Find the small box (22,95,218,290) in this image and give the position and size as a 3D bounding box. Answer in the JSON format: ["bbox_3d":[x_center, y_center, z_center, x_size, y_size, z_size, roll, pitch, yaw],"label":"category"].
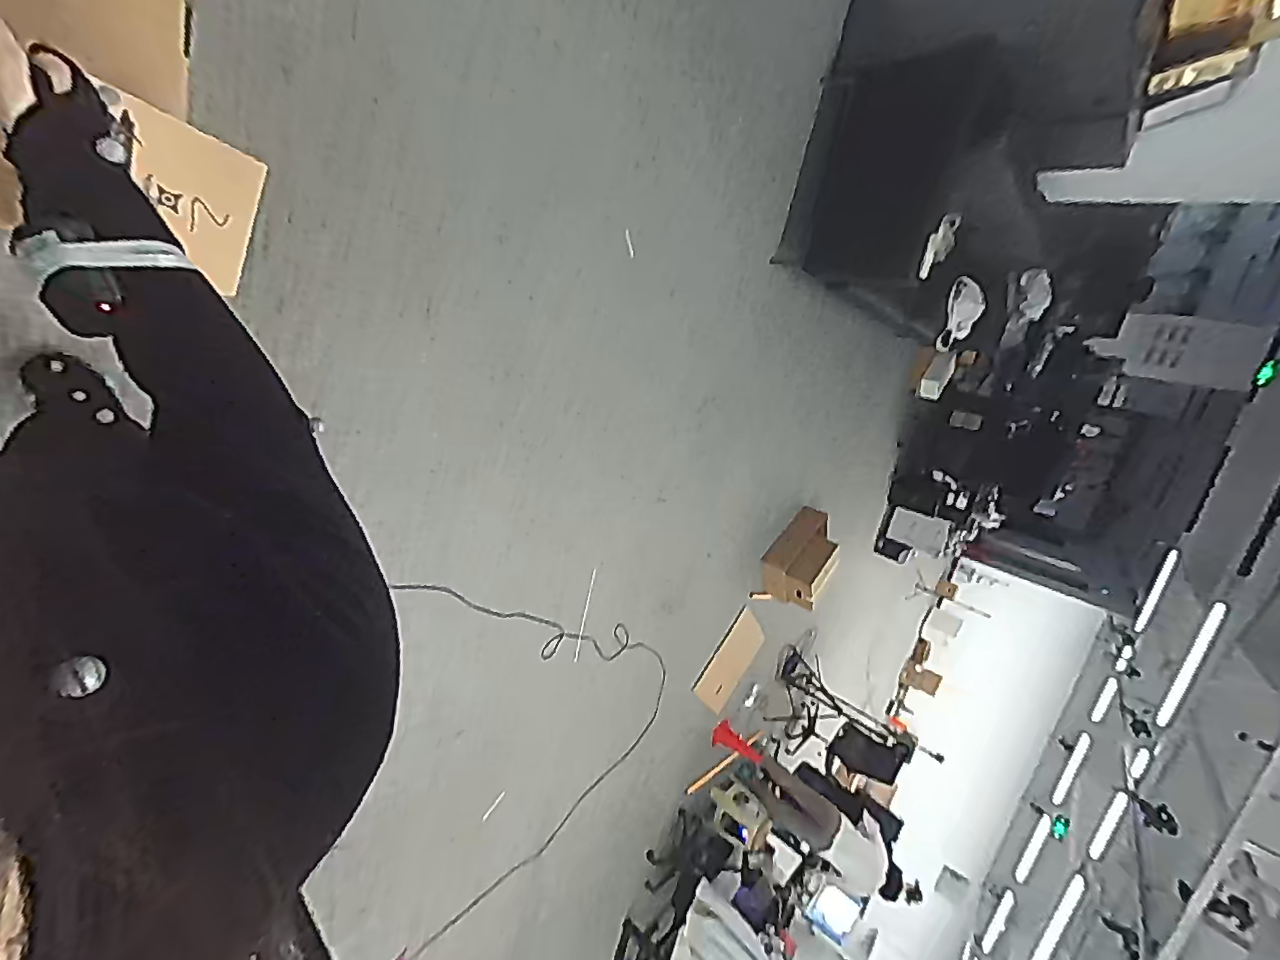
[{"bbox_3d":[-0.709,-0.376,0.736,0.168,0.176,0.179,4,103,-52],"label":"small box"}]
